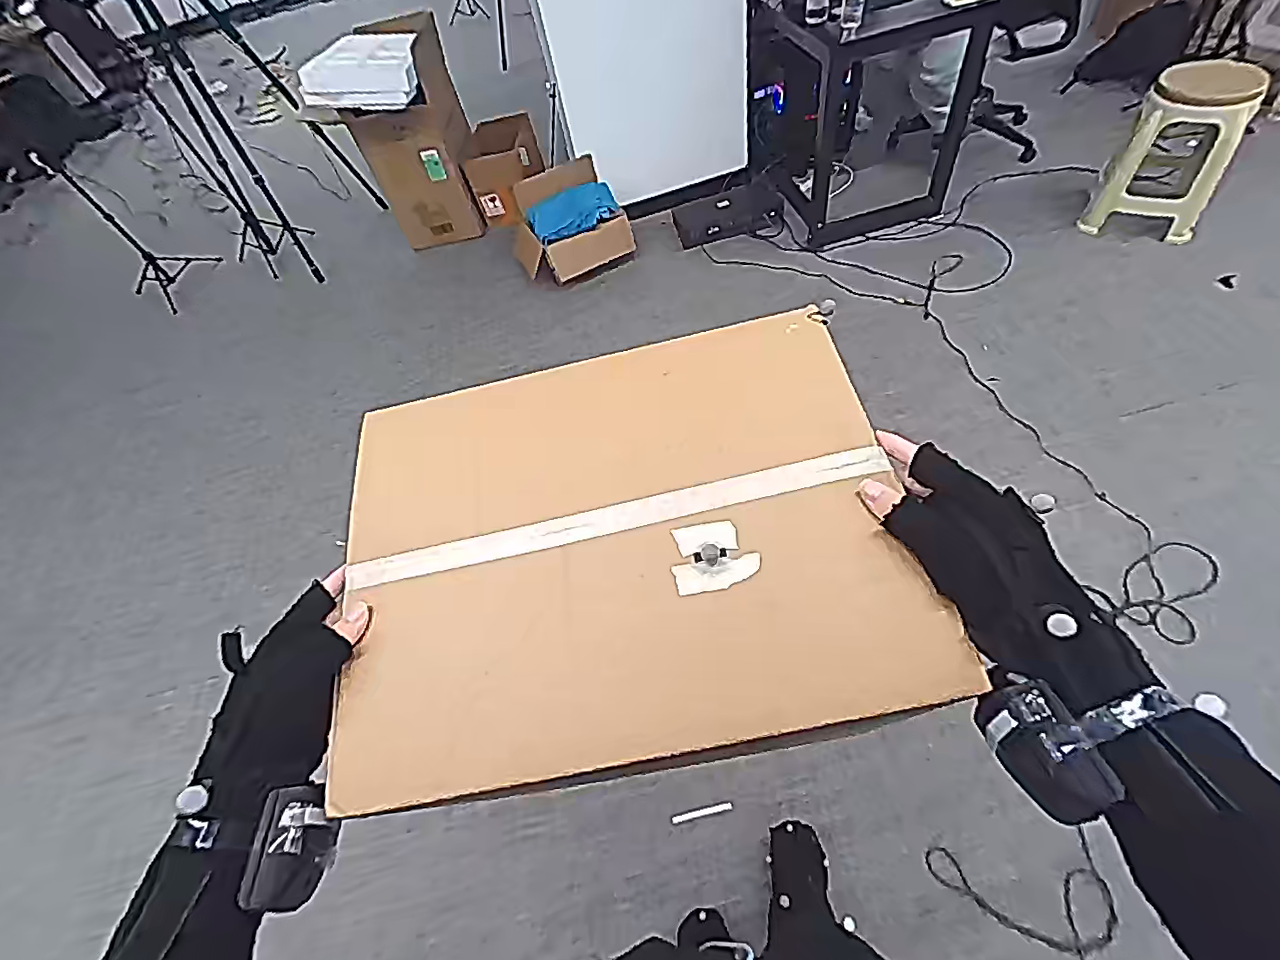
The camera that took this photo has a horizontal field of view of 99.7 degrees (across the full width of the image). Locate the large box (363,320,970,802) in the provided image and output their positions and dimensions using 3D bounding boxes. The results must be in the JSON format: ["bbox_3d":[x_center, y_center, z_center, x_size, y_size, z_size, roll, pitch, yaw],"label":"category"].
[{"bbox_3d":[0.008,0.103,0.541,0.408,0.320,0.320,-13,61,3],"label":"large box"}]
